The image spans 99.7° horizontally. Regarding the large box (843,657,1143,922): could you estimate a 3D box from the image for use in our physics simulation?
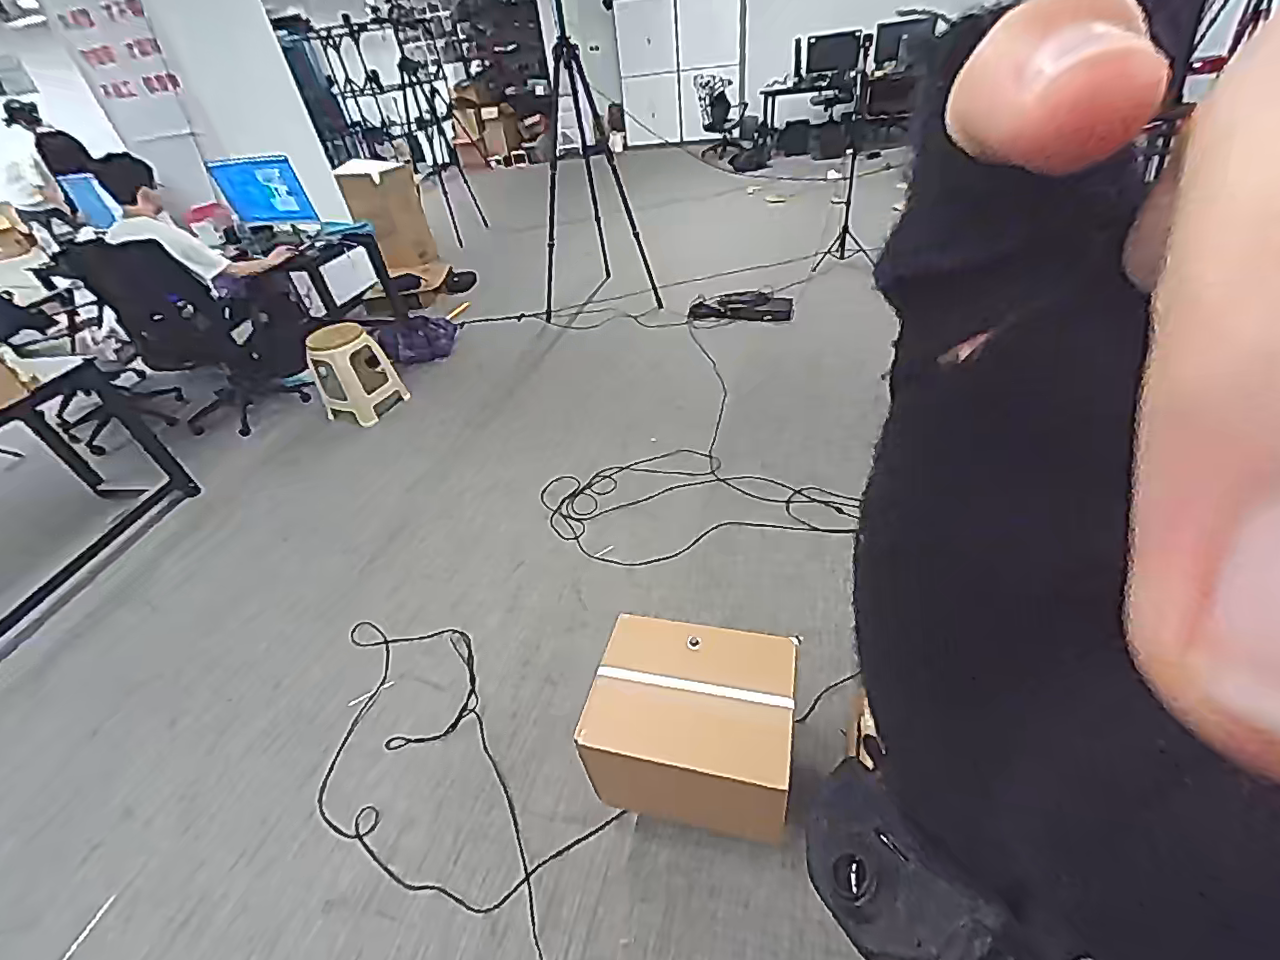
[{"bbox_3d":[0.632,0.598,1.068,0.408,0.320,0.320,6,41,18],"label":"large box"}]
